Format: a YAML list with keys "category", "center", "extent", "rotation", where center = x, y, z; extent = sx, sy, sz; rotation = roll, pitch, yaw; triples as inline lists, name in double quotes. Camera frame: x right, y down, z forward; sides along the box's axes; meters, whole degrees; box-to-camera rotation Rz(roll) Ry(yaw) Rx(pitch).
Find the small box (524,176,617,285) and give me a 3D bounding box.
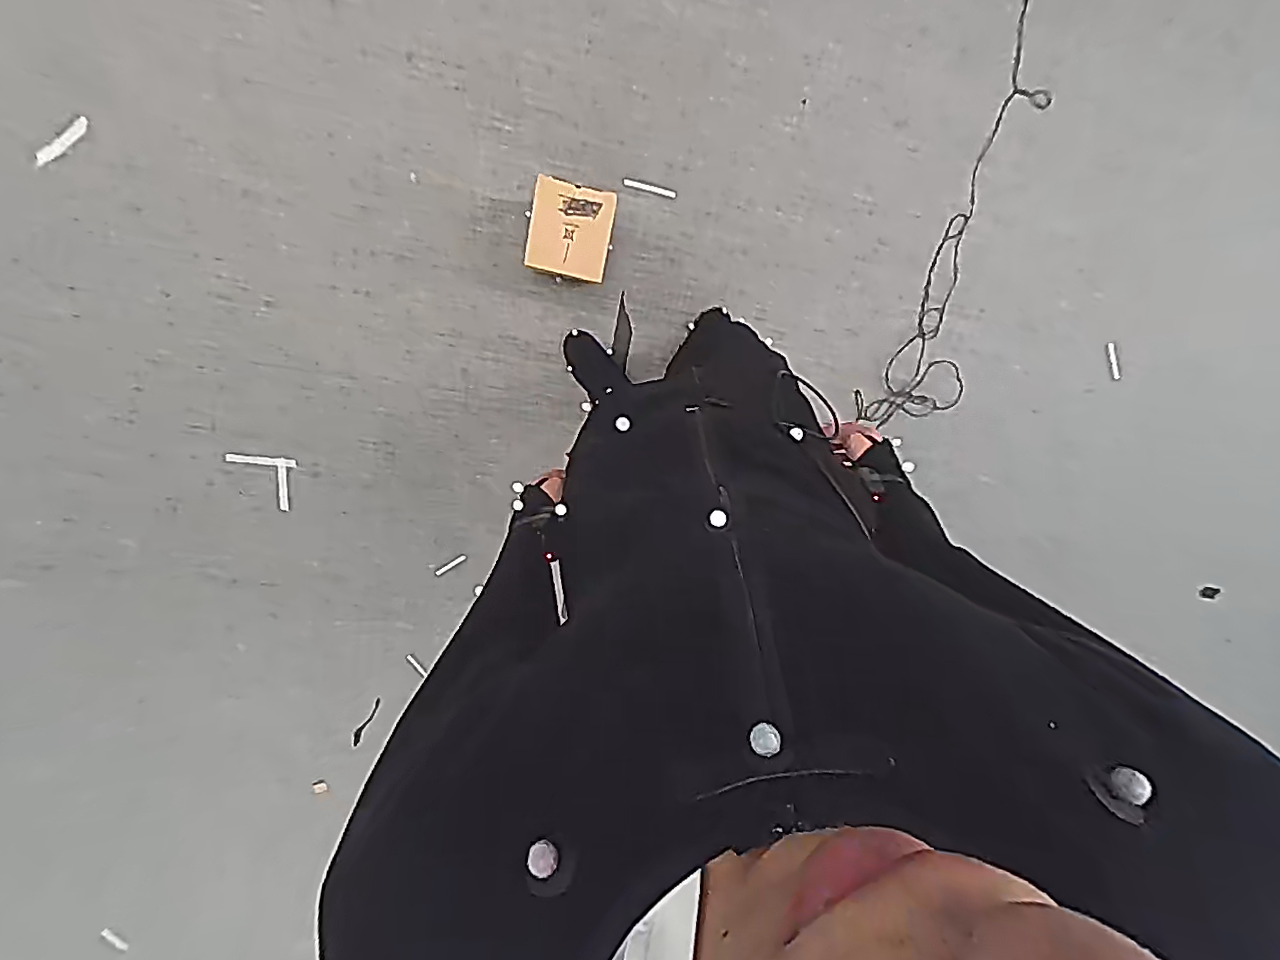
- category: "small box"
  center: [-0.156, -0.534, 1.182]
  extent: [0.168, 0.176, 0.179]
  rotation: [10, 108, -12]
